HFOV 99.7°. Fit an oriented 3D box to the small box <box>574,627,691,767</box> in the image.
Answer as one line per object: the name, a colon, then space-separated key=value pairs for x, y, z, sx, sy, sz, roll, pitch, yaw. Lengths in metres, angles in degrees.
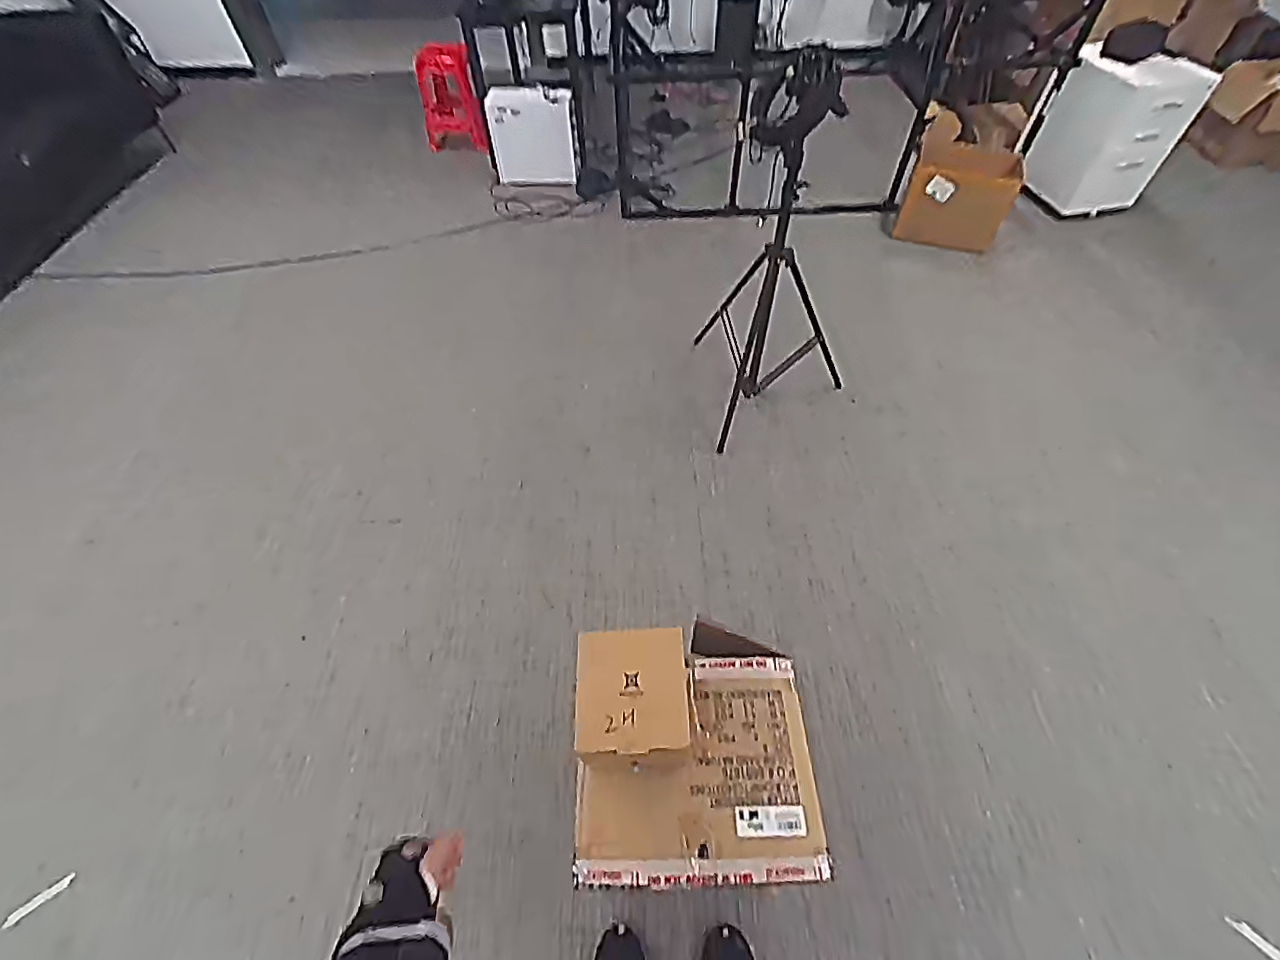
small box: x=-0.009 y=0.349 z=0.866 sx=0.168 sy=0.176 sz=0.179 roll=-3 pitch=56 yaw=2
